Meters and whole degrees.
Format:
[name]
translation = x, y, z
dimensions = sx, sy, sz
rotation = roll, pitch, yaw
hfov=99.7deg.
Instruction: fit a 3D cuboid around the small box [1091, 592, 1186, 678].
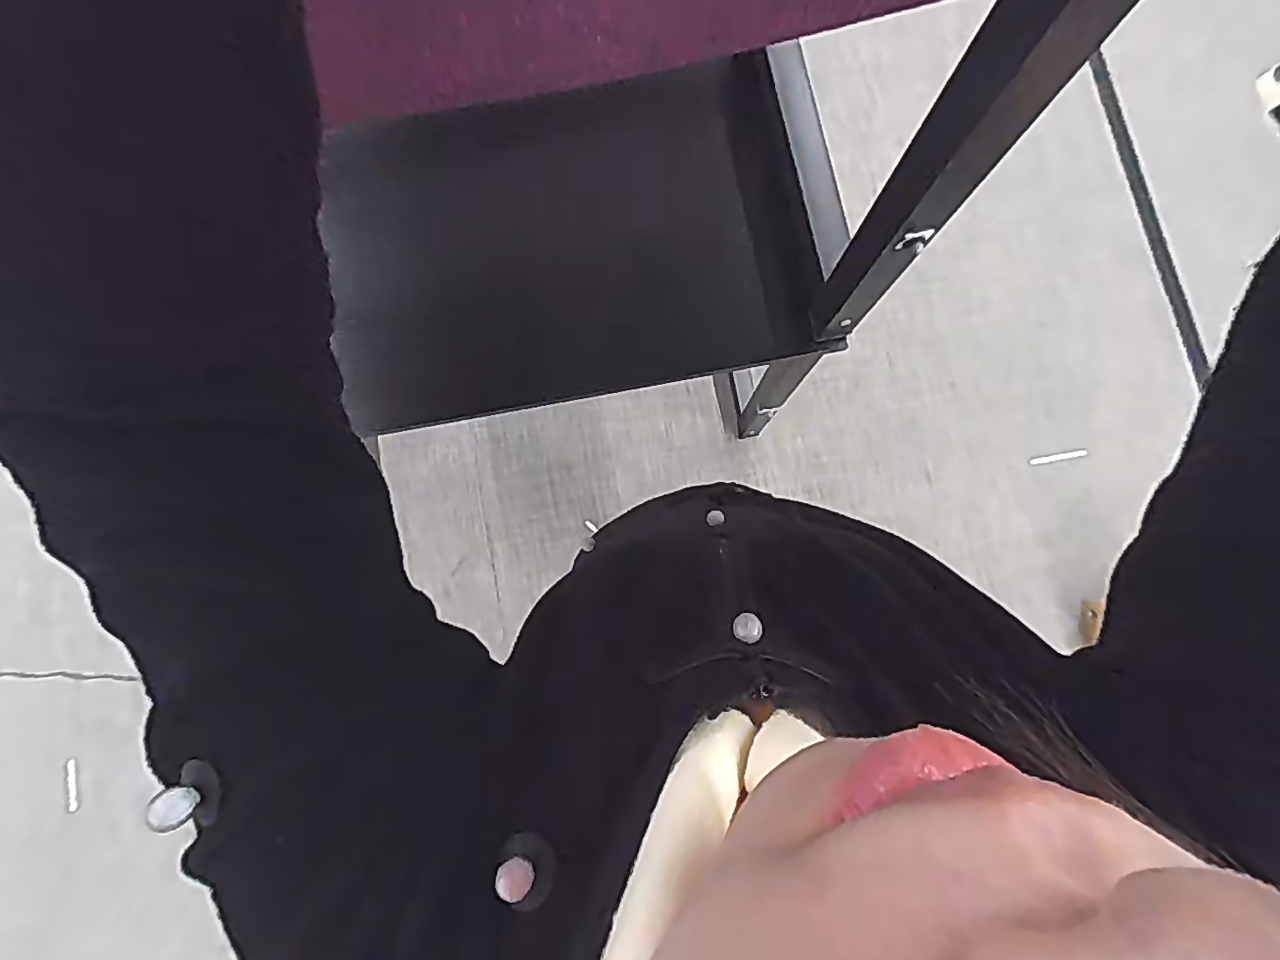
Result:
[small box]
translation = 1.270, 0.378, 1.341
dimensions = 0.179, 0.176, 0.168
rotation = -9, 84, 1
